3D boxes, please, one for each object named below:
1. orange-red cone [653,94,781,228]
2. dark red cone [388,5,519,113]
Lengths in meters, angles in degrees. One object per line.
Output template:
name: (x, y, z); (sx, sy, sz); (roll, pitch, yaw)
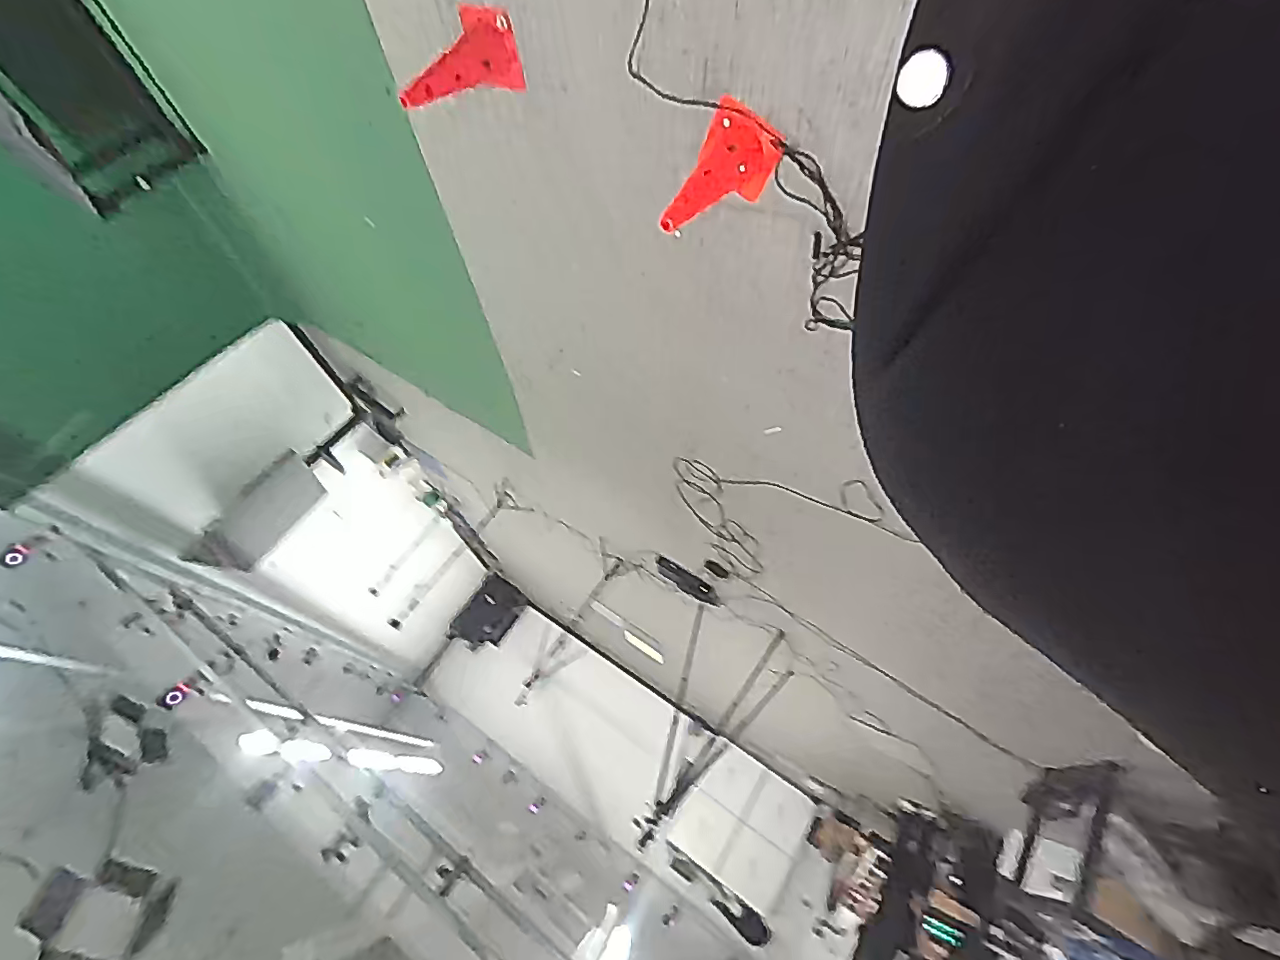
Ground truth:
orange-red cone: (0.151, -0.728, 1.324); (0.198, 0.360, 0.199); (40, 158, 0)
dark red cone: (-0.546, -1.146, 1.522); (0.201, 0.394, 0.202); (30, 156, 26)
